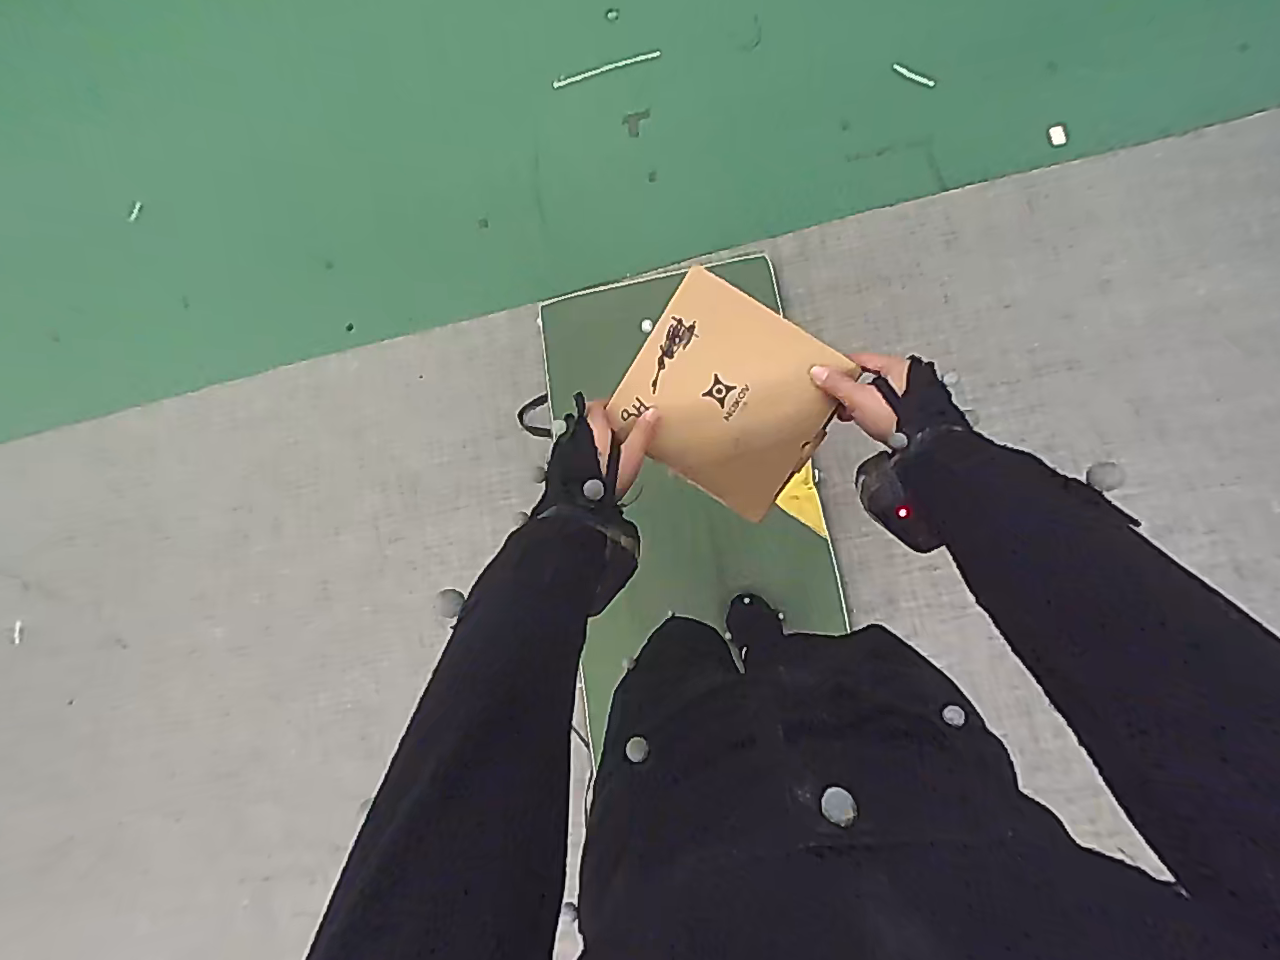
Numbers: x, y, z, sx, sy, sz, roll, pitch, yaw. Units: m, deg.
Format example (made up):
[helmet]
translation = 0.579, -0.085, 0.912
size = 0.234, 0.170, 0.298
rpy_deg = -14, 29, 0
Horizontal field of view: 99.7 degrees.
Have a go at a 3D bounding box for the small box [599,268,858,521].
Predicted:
[small box]
translation = 0.082, -0.084, 0.560
size = 0.179, 0.176, 0.168
rpy_deg = 33, 98, 0
